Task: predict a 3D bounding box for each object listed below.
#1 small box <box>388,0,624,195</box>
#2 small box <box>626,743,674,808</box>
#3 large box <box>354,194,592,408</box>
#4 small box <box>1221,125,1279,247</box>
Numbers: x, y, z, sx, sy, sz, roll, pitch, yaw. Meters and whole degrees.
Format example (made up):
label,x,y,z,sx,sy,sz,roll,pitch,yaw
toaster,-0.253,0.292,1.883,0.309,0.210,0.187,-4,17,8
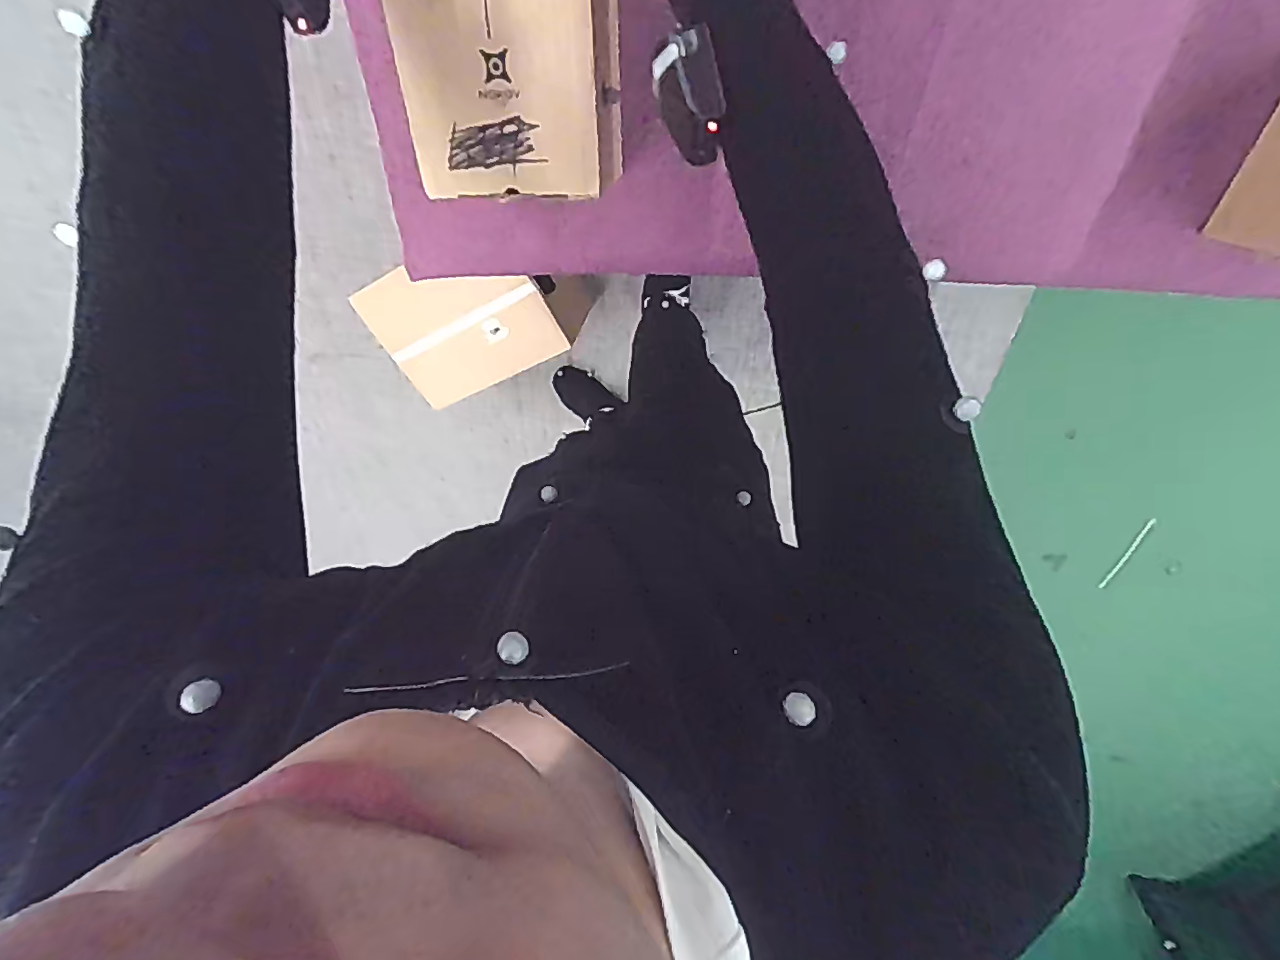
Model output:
label,x,y,z,sx,sy,sz,roll,pitch,yaw
small box,-0.106,-0.377,0.505,0.168,0.176,0.179,2,125,4
small box,0.045,1.262,2.315,0.168,0.176,0.179,13,126,0
large box,-0.378,-0.438,1.313,0.408,0.320,0.320,-20,122,18
small box,0.698,-0.290,0.474,0.168,0.176,0.179,7,124,4
